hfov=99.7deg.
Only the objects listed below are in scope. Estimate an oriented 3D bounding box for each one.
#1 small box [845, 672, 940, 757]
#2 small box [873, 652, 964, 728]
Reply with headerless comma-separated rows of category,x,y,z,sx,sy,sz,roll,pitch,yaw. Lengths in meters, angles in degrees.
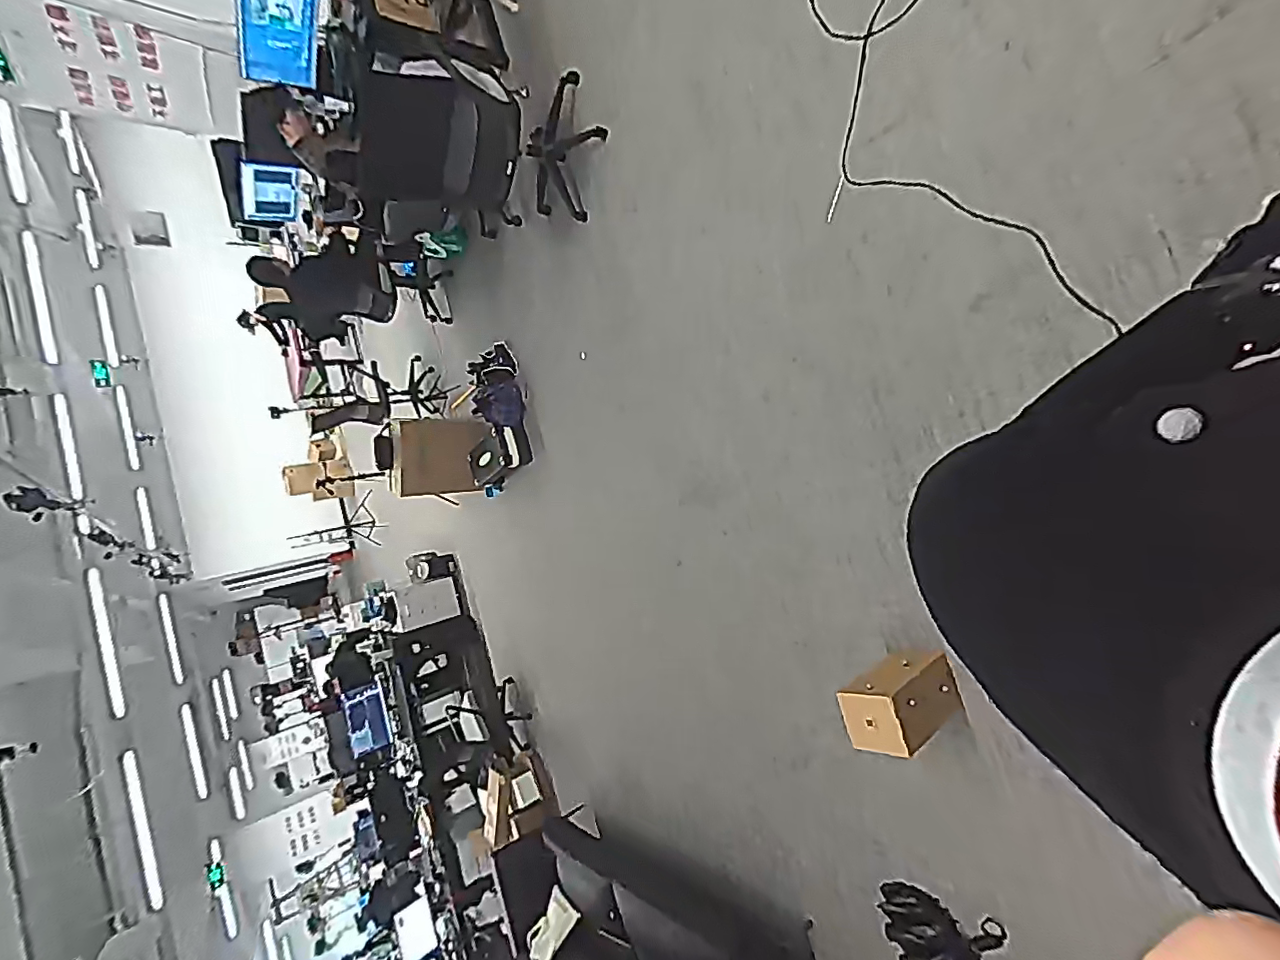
small box,0.738,0.670,1.566,0.179,0.176,0.168,-26,79,55
small box,0.864,0.638,1.663,0.179,0.176,0.168,-27,80,53
